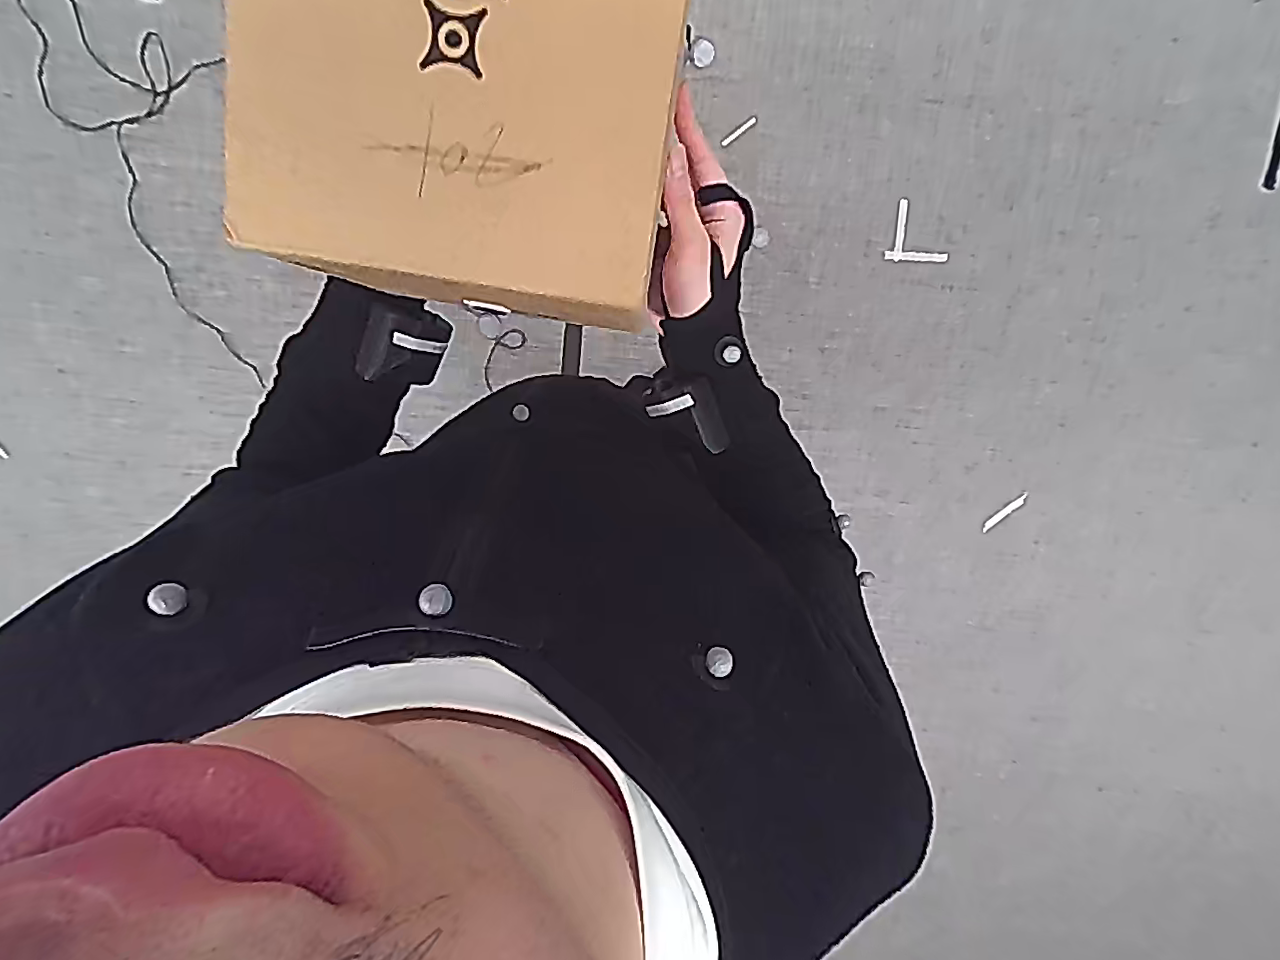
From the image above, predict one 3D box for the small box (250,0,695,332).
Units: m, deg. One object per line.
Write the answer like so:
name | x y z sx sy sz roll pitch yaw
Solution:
small box | -0.065 -0.184 0.285 0.168 0.176 0.179 7 101 -2
